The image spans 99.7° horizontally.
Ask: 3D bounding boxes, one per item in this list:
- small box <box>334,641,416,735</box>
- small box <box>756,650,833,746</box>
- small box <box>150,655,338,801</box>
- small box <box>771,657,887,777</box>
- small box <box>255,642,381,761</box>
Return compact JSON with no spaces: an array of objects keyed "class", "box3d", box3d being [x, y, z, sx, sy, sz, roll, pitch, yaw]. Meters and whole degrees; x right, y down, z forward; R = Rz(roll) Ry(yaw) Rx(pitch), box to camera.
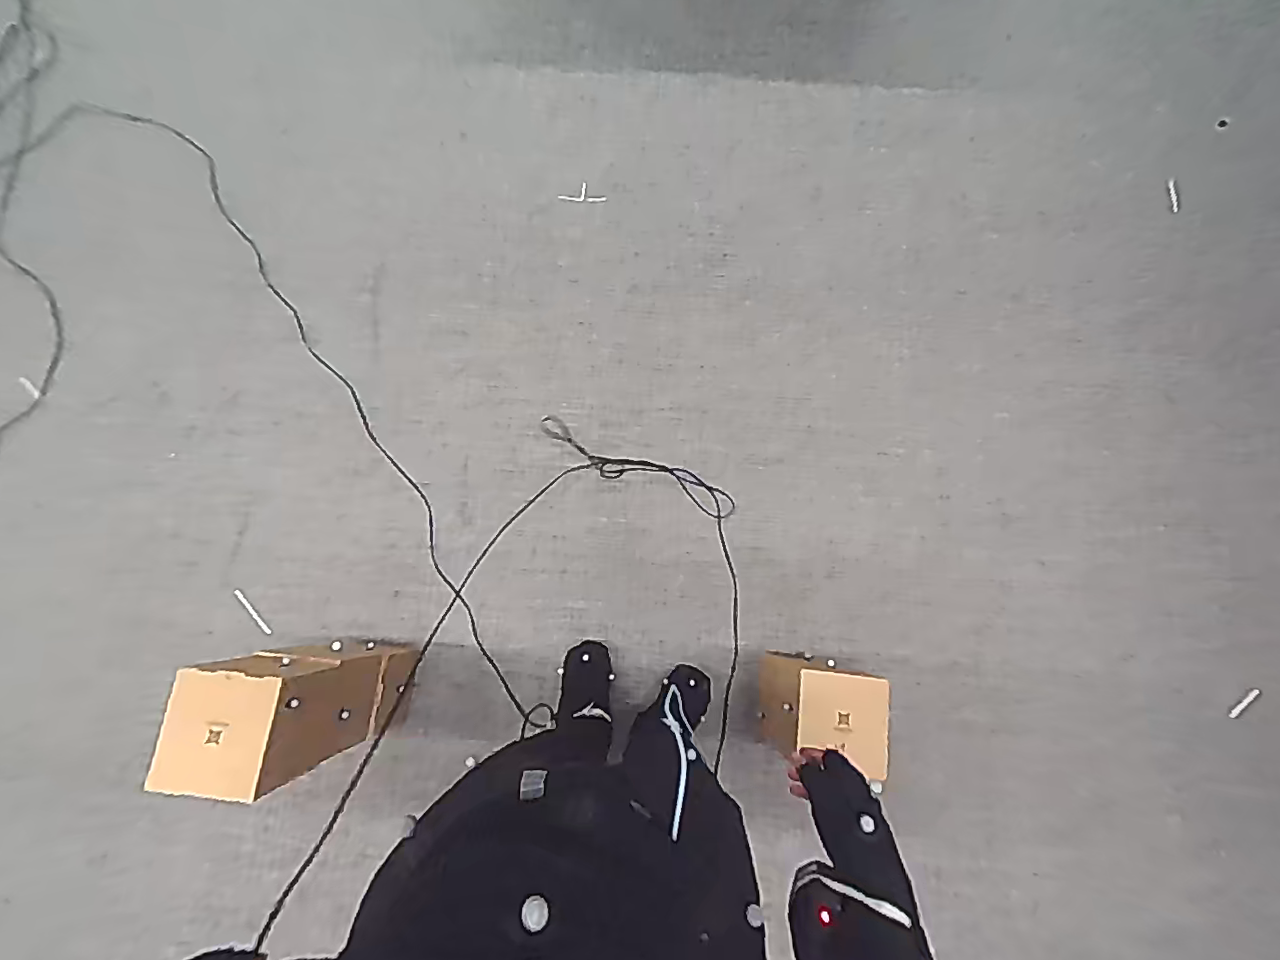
[{"class":"small box","box3d":[-0.625,0.455,1.207,0.179,0.176,0.168,5,78,0]},{"class":"small box","box3d":[0.361,0.488,1.202,0.168,0.176,0.179,9,78,1]},{"class":"small box","box3d":[-0.630,0.393,0.885,0.168,0.176,0.179,6,77,1]},{"class":"small box","box3d":[0.362,0.452,1.059,0.168,0.176,0.179,7,79,0]},{"class":"small box","box3d":[-0.630,0.419,1.046,0.168,0.176,0.179,6,77,1]}]
